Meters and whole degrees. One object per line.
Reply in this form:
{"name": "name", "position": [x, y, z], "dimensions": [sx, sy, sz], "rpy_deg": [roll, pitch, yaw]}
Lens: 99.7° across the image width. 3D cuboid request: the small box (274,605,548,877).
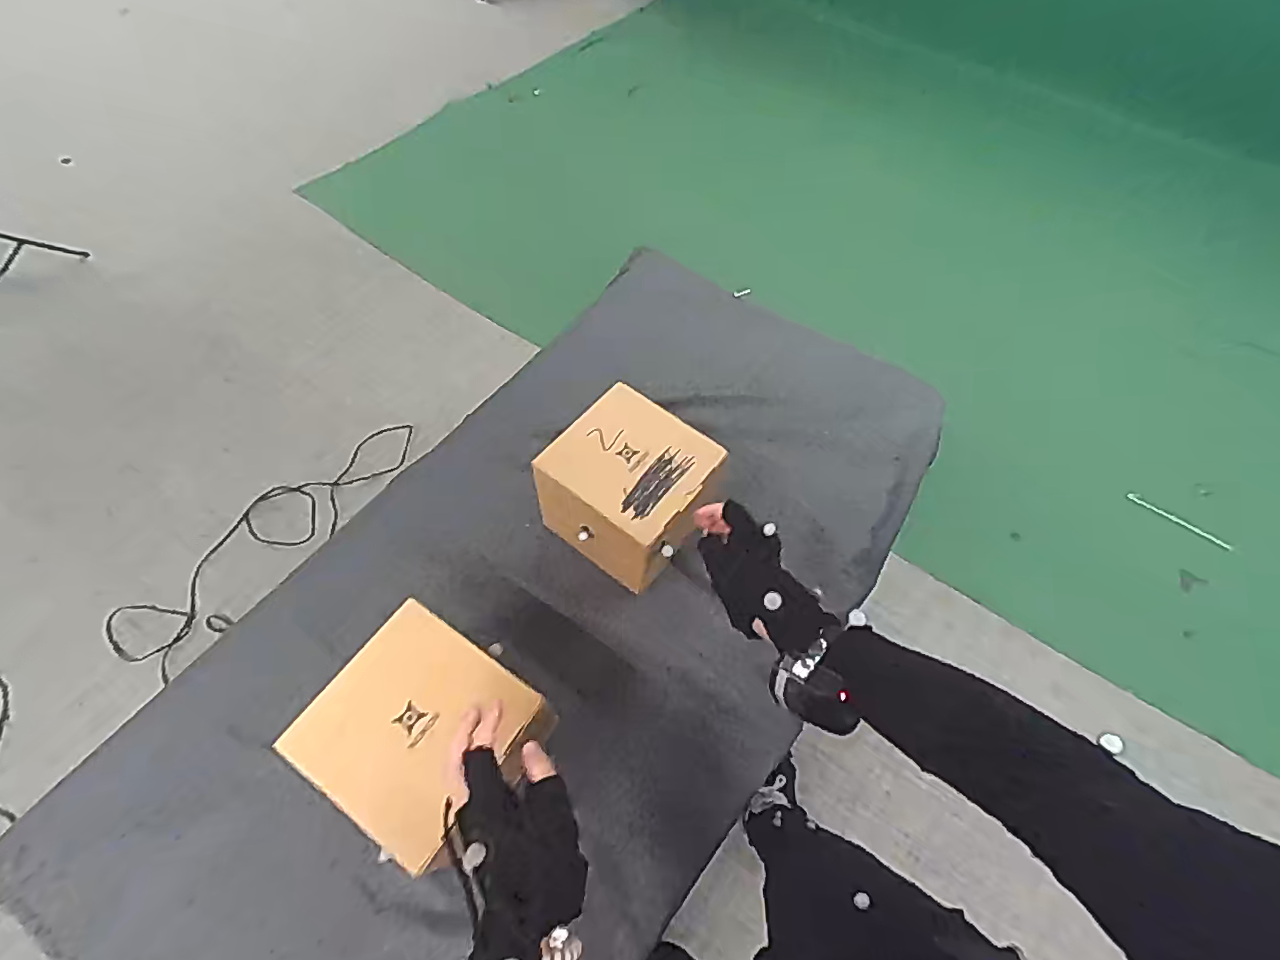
{"name": "small box", "position": [-0.214, 0.265, 0.558], "dimensions": [0.179, 0.176, 0.168], "rpy_deg": [31, 62, 13]}
